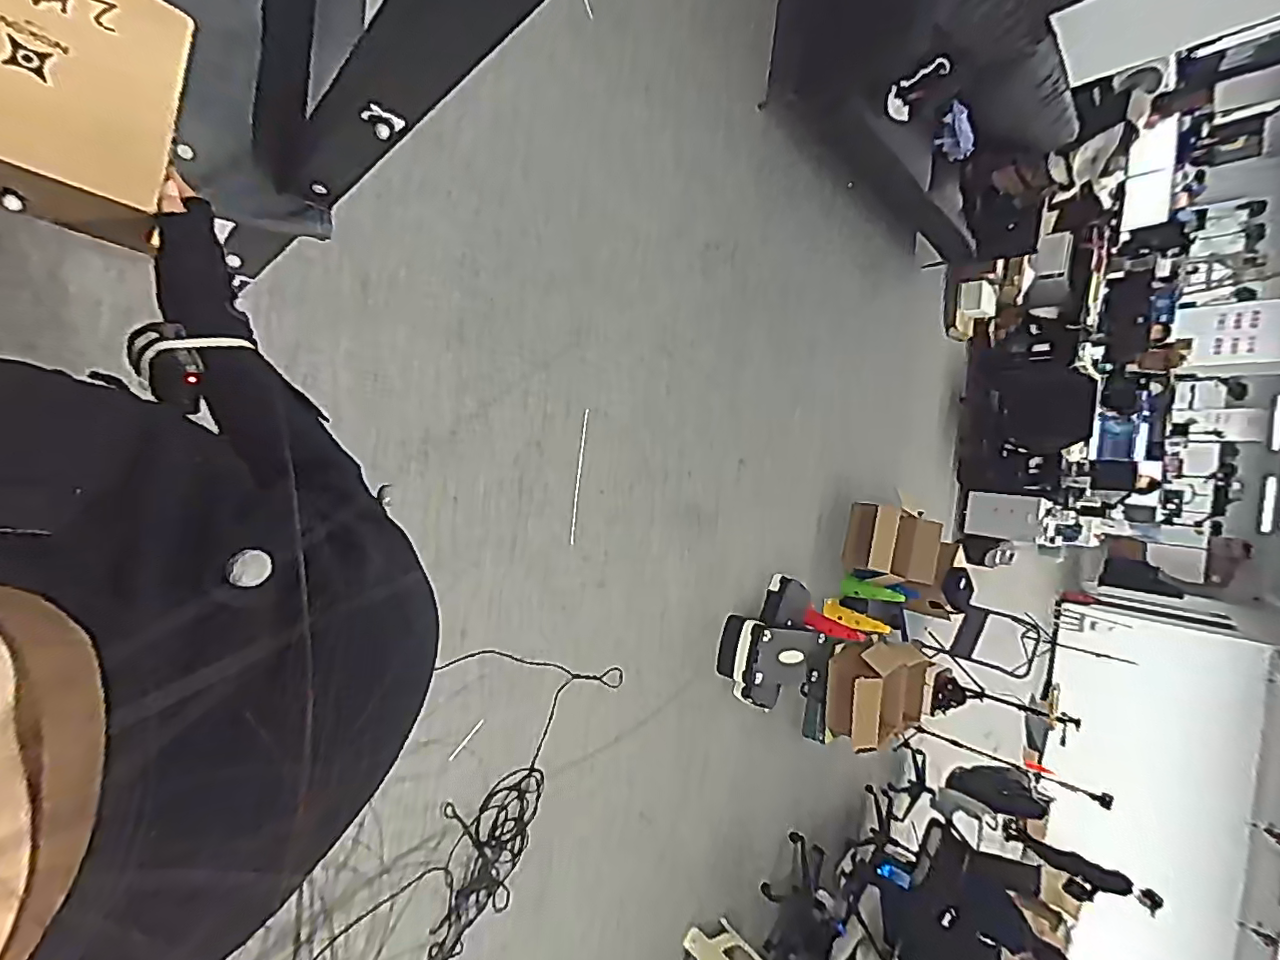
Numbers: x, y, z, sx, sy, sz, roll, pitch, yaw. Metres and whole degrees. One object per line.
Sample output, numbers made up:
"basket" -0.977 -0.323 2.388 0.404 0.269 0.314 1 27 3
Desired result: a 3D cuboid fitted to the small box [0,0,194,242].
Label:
"small box" -0.506 -0.329 0.458 0.168 0.176 0.179 11 88 -46
